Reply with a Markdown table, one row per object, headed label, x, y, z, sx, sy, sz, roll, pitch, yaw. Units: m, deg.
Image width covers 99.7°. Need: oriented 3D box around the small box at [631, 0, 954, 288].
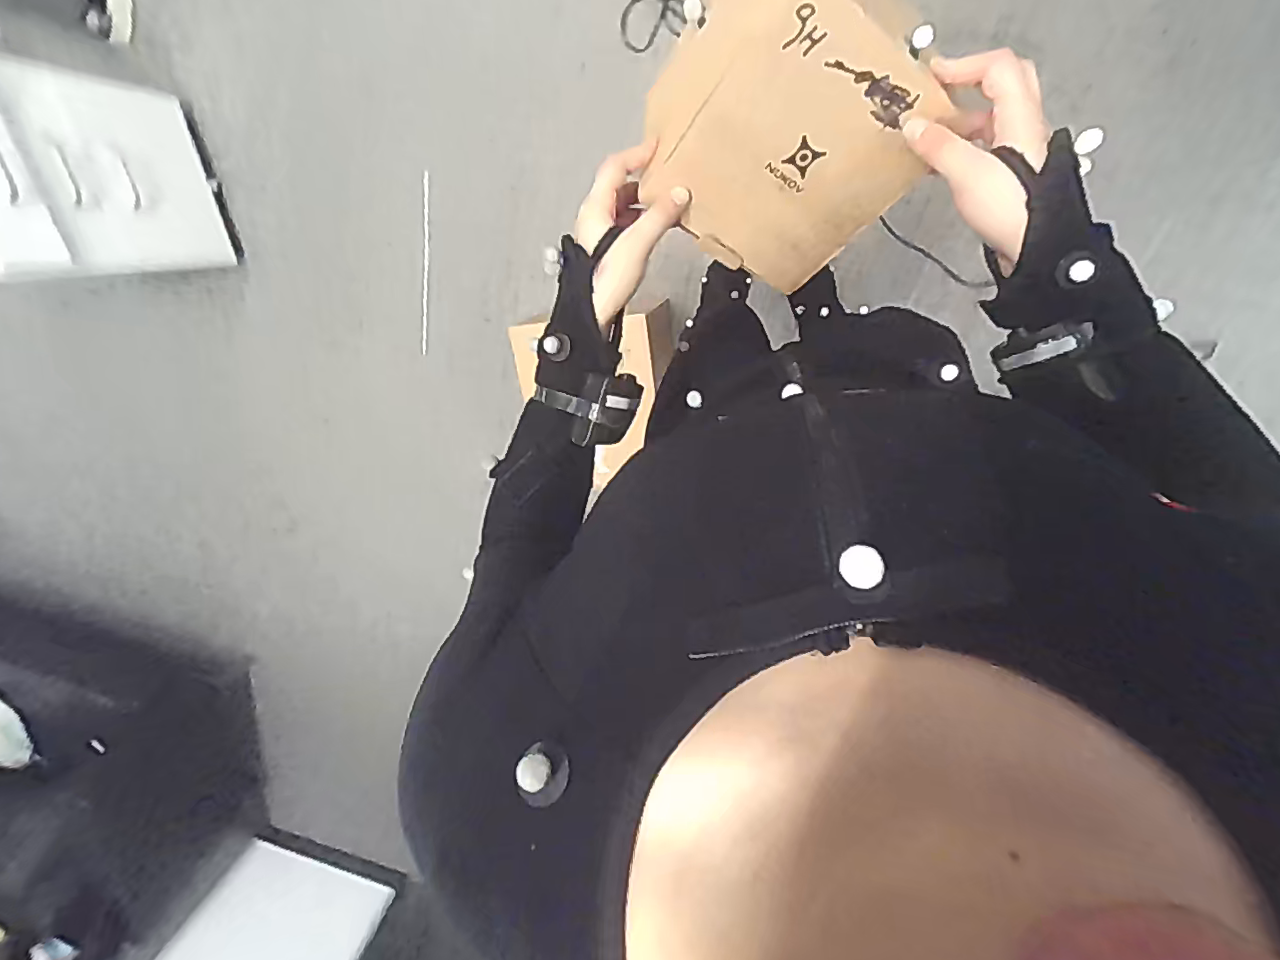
| label | x | y | z | sx | sy | sz | roll | pitch | yaw |
| --- | --- | --- | --- | --- | --- | --- | --- | --- | --- |
| small box | 0.113 | -0.304 | 0.440 | 0.168 | 0.176 | 0.179 | 21 | 146 | -27 |
